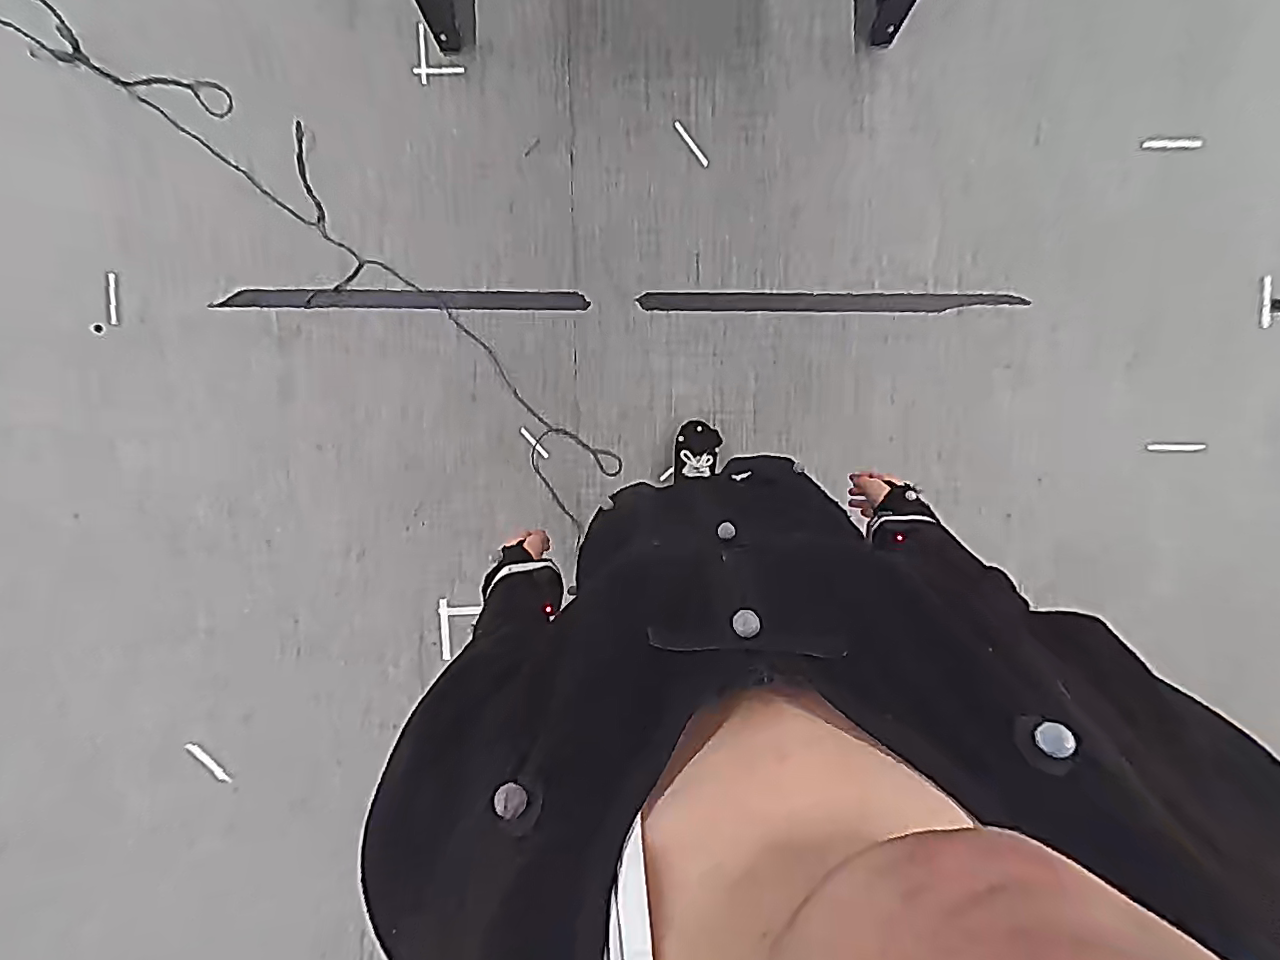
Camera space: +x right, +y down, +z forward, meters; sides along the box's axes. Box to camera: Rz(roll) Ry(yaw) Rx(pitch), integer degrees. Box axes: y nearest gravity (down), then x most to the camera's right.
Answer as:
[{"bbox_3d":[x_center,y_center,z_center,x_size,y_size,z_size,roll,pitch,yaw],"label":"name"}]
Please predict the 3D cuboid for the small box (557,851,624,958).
[{"bbox_3d":[-0.132,1.154,1.484,0.168,0.176,0.179,-3,94,2],"label":"small box"}]
